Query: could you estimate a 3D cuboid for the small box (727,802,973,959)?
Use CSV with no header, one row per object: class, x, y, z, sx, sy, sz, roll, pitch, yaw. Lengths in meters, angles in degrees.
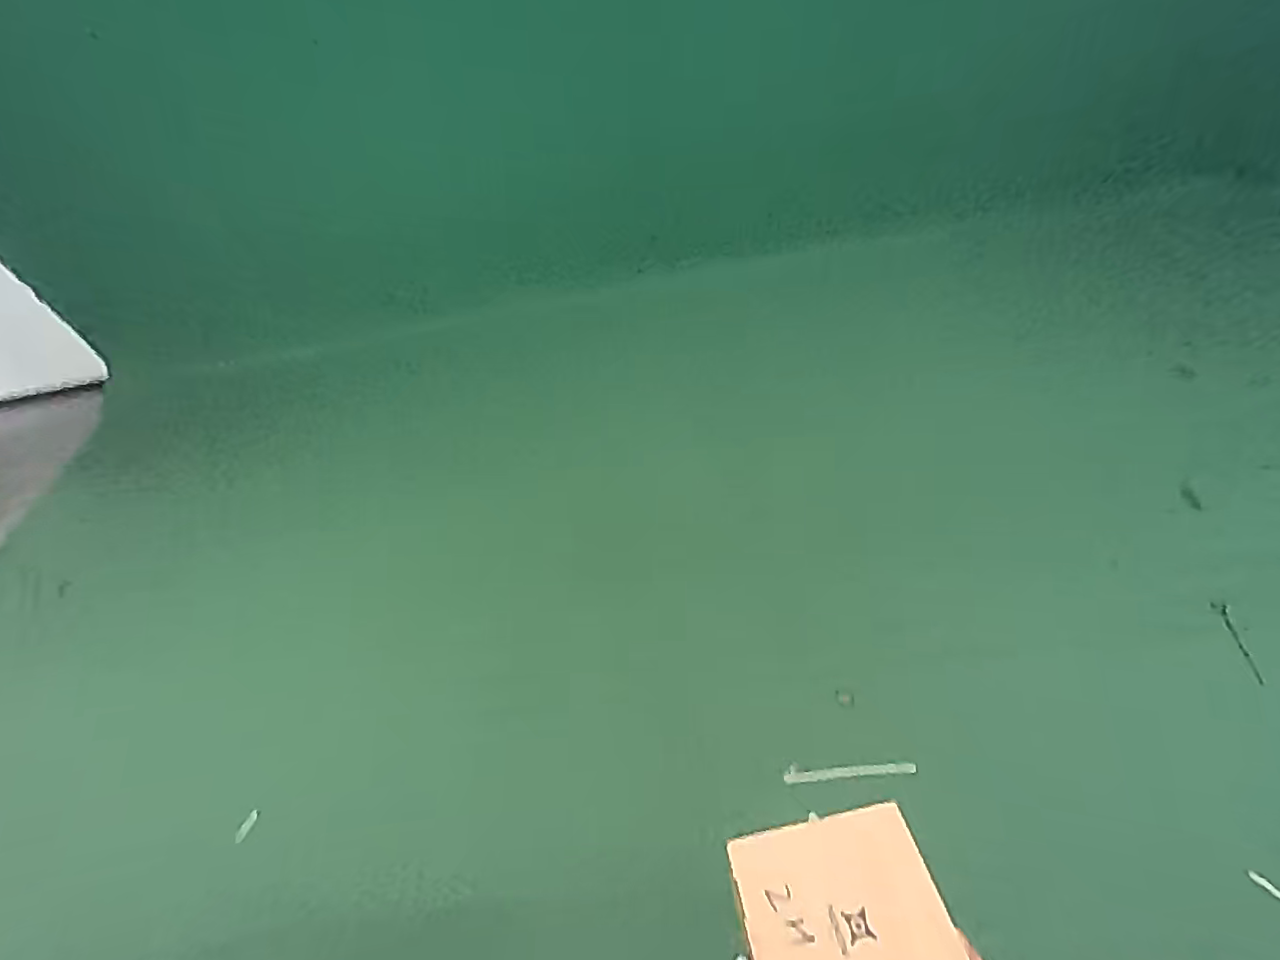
small box,0.188,0.436,0.514,0.179,0.176,0.168,-13,43,-1
